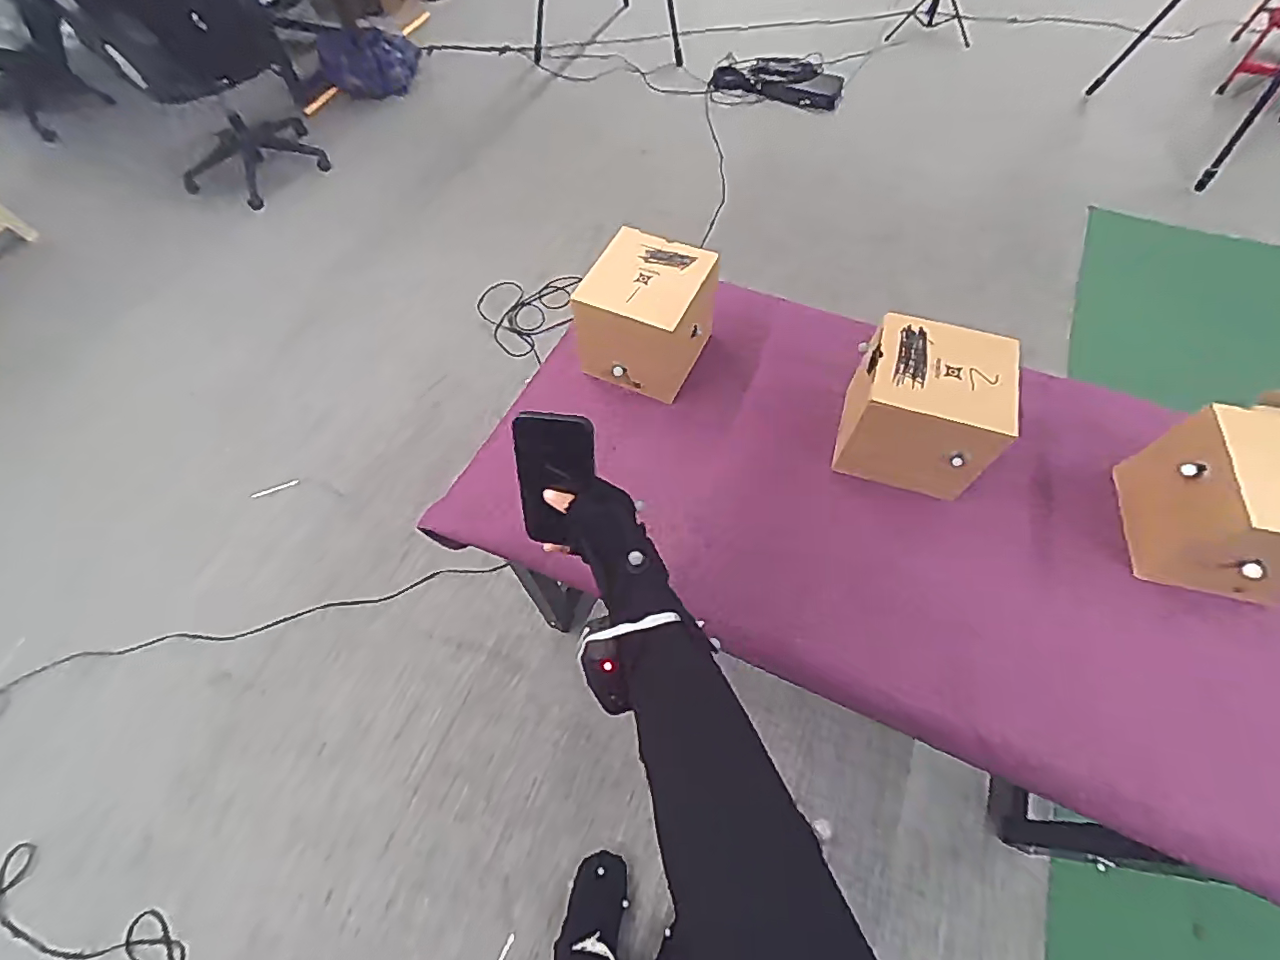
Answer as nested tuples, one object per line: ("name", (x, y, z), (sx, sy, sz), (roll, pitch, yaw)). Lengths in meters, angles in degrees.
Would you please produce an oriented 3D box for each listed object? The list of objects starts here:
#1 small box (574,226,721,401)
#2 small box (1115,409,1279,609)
("small box", (0.014, -0.260, 0.859), (0.168, 0.176, 0.179), (23, 65, 14))
("small box", (0.746, 0.042, 0.671), (0.168, 0.176, 0.179), (12, 60, 9))
